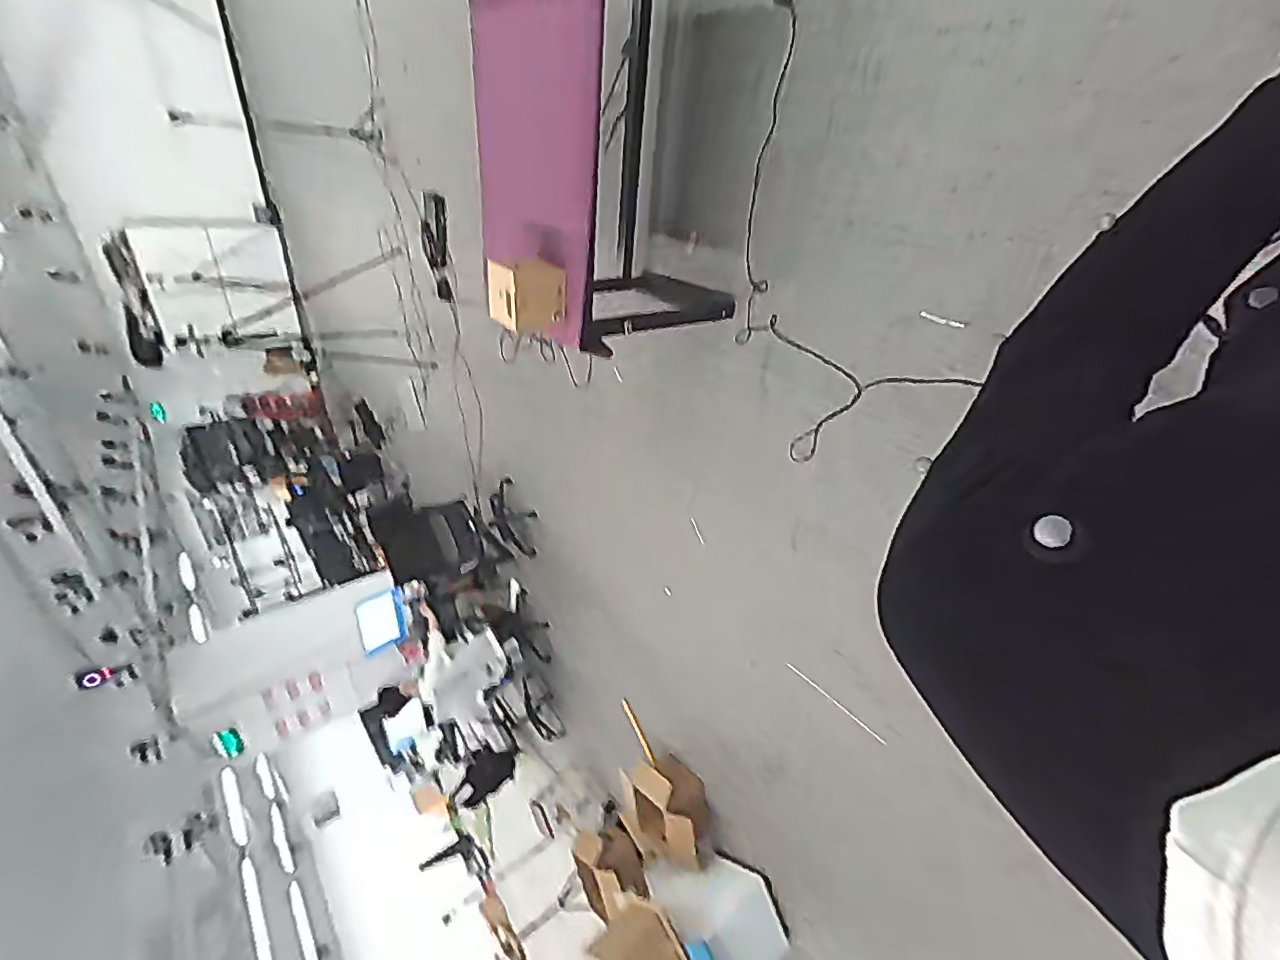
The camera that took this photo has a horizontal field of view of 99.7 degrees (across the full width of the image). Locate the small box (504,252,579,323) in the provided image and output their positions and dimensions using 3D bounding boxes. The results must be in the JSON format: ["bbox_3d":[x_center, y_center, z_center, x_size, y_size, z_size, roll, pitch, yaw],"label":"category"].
[{"bbox_3d":[-0.297,-0.592,1.648,0.179,0.176,0.168,39,135,41],"label":"small box"}]
